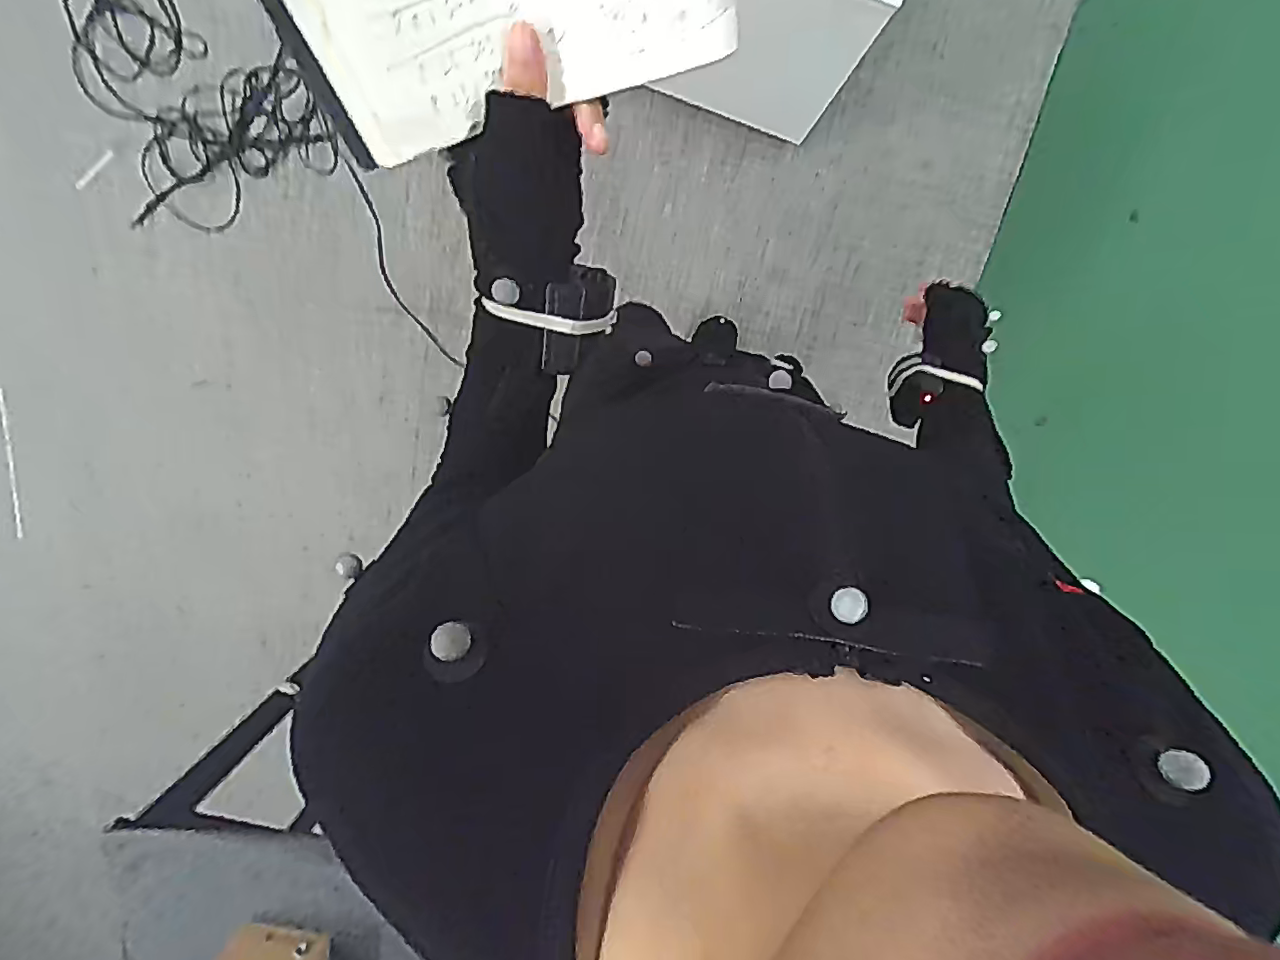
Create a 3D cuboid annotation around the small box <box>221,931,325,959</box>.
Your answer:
[{"bbox_3d":[-0.680,0.944,0.947,0.168,0.176,0.179,11,106,0],"label":"small box"}]
